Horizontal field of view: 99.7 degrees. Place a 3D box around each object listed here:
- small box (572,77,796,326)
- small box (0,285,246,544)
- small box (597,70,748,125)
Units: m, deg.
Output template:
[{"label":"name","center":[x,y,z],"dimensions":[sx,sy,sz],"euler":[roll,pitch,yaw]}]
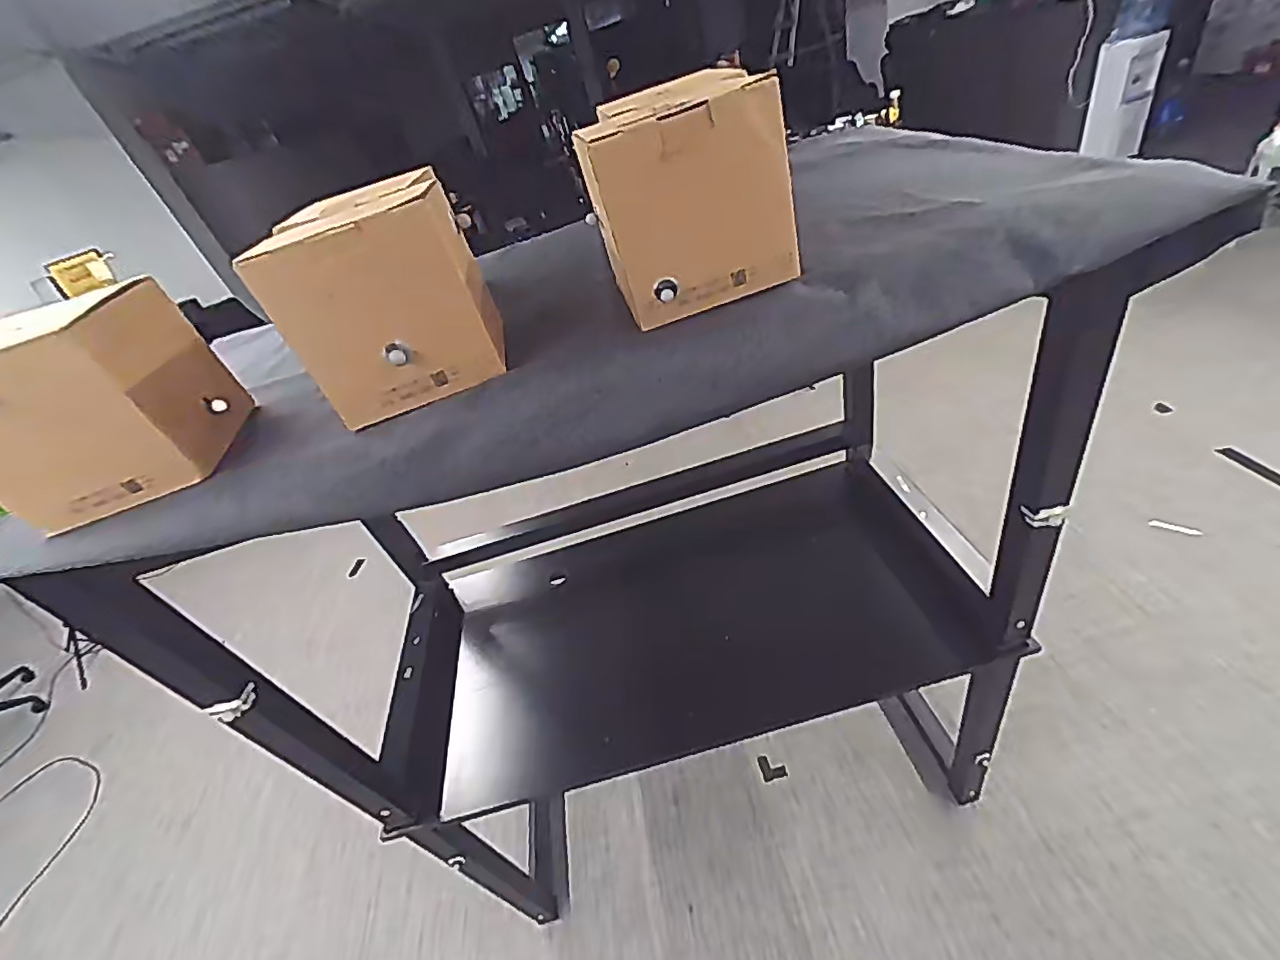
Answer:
[{"label":"small box","center":[0.042,-0.273,0.541],"dimensions":[0.168,0.176,0.179],"euler":[-19,36,1]},{"label":"small box","center":[-0.545,-0.068,0.542],"dimensions":[0.168,0.176,0.179],"euler":[-22,38,-3]},{"label":"small box","center":[0.050,-0.417,0.719],"dimensions":[0.168,0.176,0.179],"euler":[-18,39,2]}]
